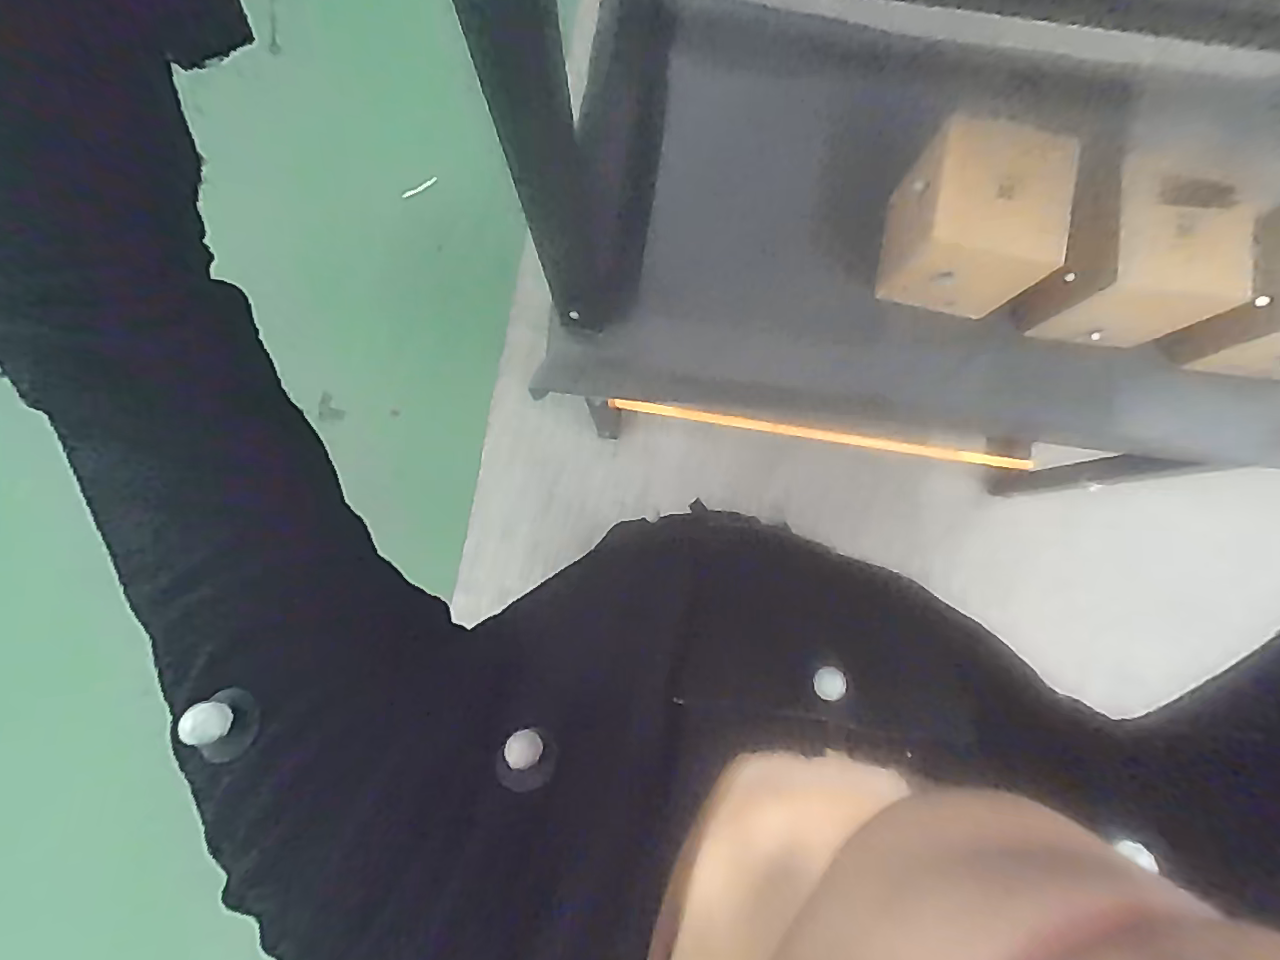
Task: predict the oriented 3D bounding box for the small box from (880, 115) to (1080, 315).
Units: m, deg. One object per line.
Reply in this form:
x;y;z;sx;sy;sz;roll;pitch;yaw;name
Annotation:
0.457;-0.354;0.753;0.168;0.176;0.179;12;83;1;small box

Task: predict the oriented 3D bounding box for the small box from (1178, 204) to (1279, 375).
0.894;-0.255;0.738;0.168;0.176;0.179;7;82;0;small box
